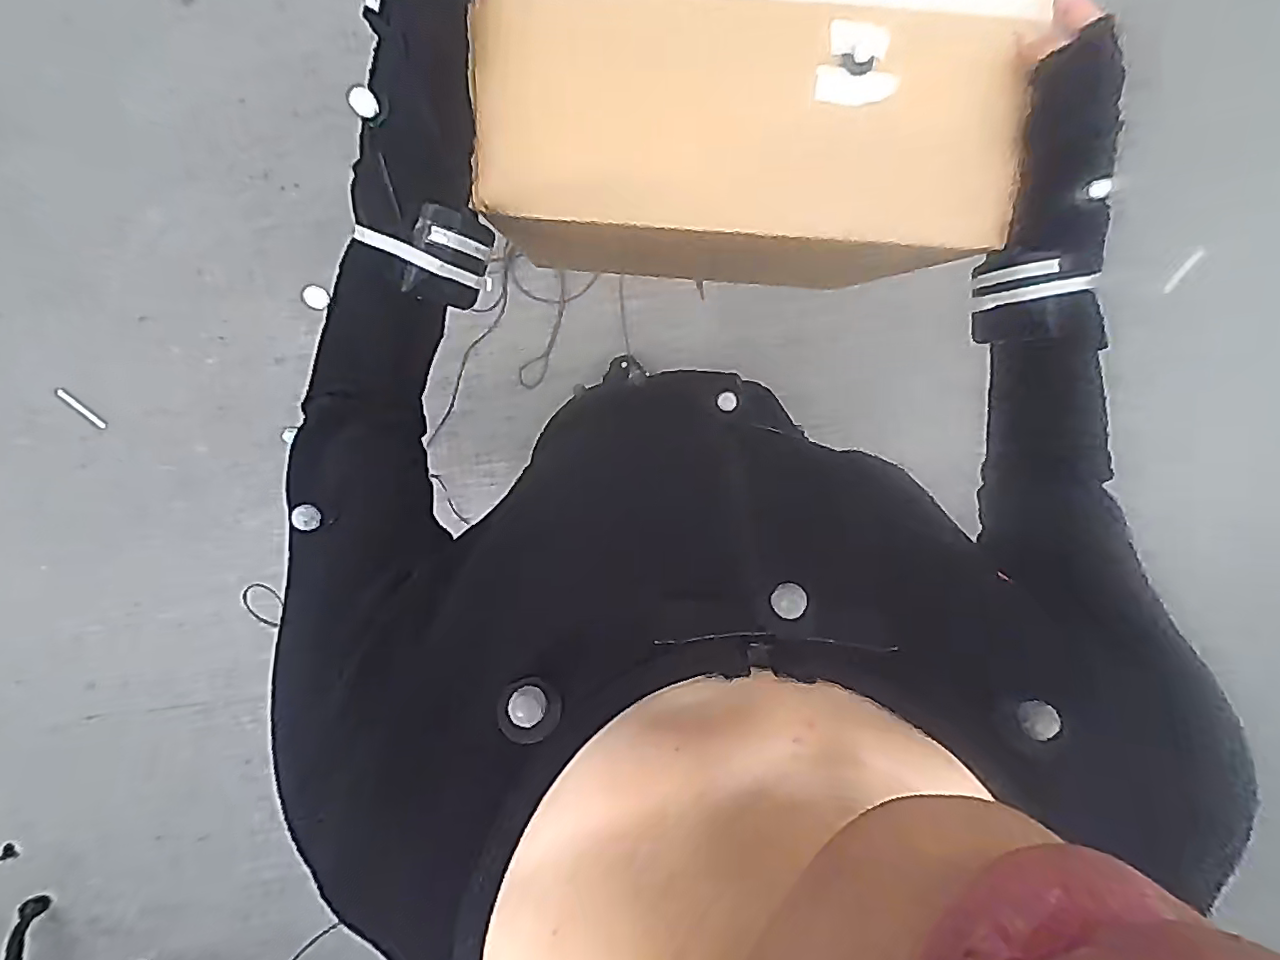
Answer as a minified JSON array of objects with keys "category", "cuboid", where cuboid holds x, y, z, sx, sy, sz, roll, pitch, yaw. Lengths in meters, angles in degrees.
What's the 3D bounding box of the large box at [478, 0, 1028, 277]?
[{"category":"large box","cuboid":[0.075,-0.385,0.526,0.408,0.320,0.320,2,104,-4]}]
